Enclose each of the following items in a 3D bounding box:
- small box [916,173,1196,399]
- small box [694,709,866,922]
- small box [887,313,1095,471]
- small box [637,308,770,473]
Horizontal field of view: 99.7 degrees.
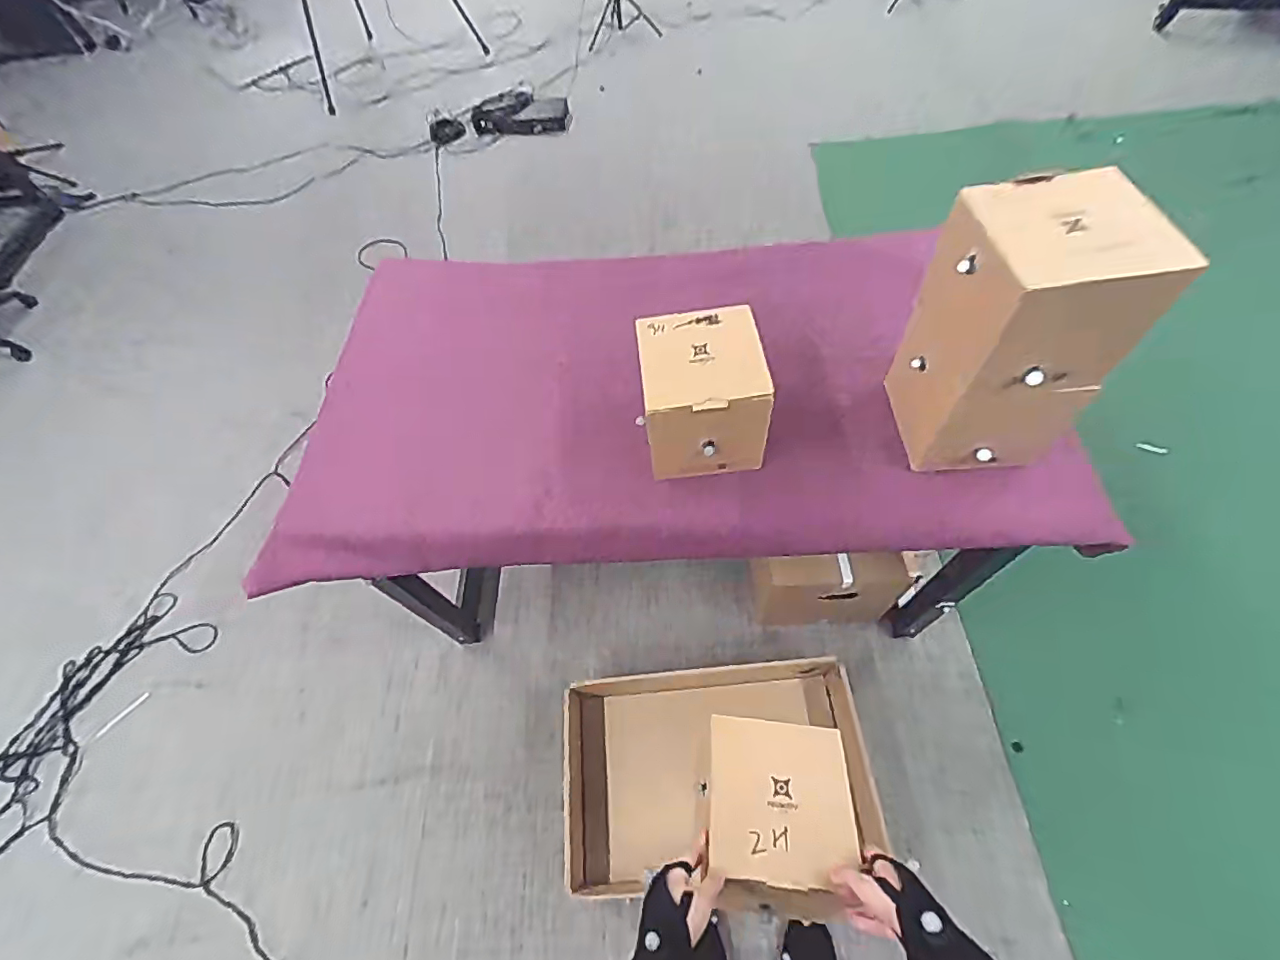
[{"bbox_3d":[0.447,-0.218,0.625,0.168,0.176,0.179,-6,57,4],"label":"small box"},{"bbox_3d":[0.160,0.418,0.677,0.168,0.176,0.179,6,43,3],"label":"small box"},{"bbox_3d":[0.469,-0.131,0.761,0.168,0.176,0.179,-4,58,5],"label":"small box"},{"bbox_3d":[0.089,-0.123,0.799,0.168,0.176,0.179,-6,58,2],"label":"small box"}]
